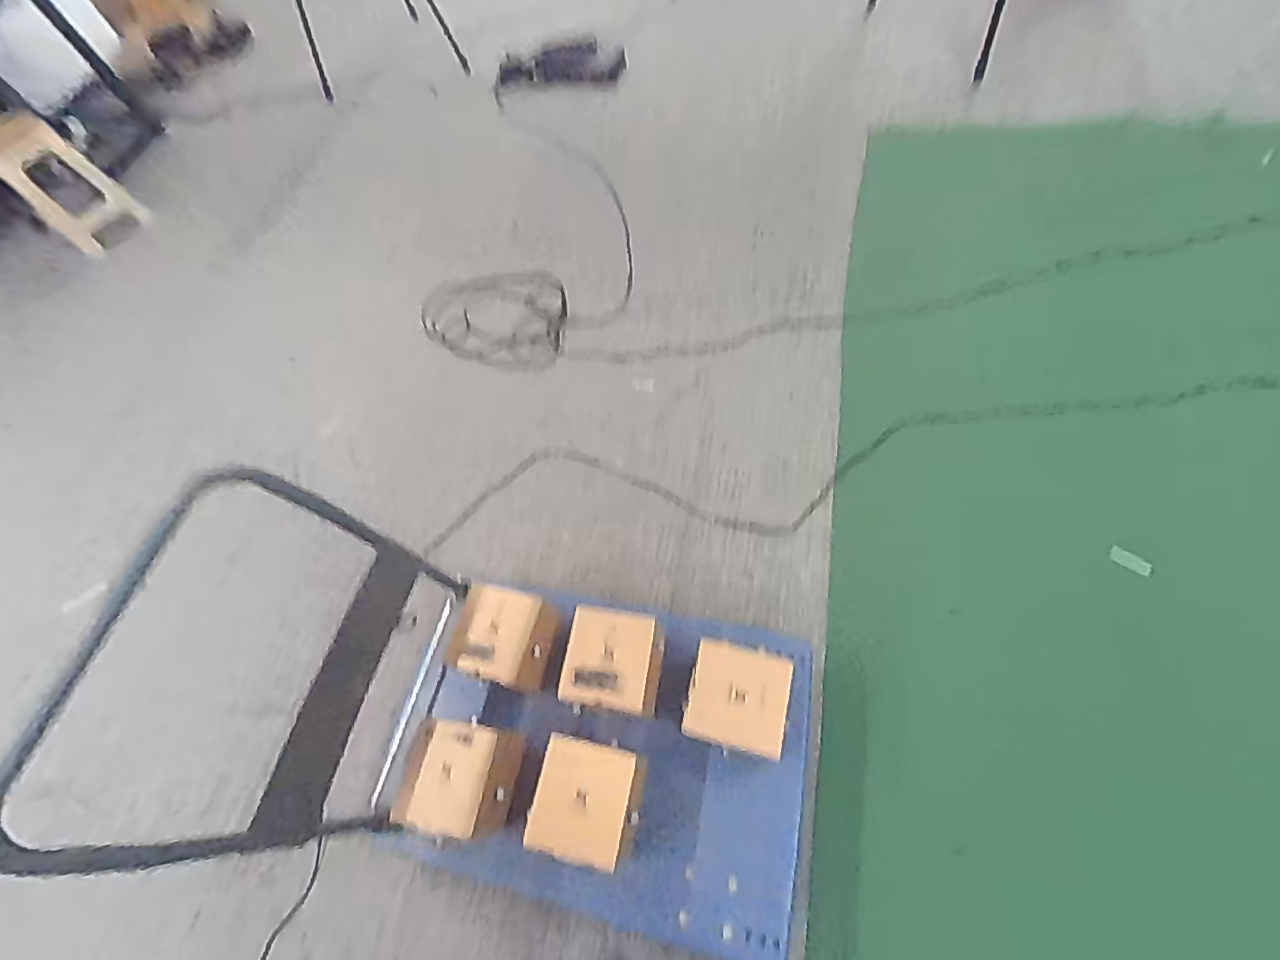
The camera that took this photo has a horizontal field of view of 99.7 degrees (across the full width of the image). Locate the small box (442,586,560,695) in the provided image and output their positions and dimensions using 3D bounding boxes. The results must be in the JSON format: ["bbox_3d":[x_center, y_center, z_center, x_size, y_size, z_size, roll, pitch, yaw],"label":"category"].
[{"bbox_3d":[-0.287,0.351,1.166,0.168,0.176,0.179,10,64,14],"label":"small box"}]

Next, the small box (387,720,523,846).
[{"bbox_3d":[-0.346,0.580,1.051,0.168,0.176,0.179,6,64,12],"label":"small box"}]

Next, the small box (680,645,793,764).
[{"bbox_3d":[0.187,0.436,1.042,0.179,0.176,0.168,10,65,15],"label":"small box"}]
